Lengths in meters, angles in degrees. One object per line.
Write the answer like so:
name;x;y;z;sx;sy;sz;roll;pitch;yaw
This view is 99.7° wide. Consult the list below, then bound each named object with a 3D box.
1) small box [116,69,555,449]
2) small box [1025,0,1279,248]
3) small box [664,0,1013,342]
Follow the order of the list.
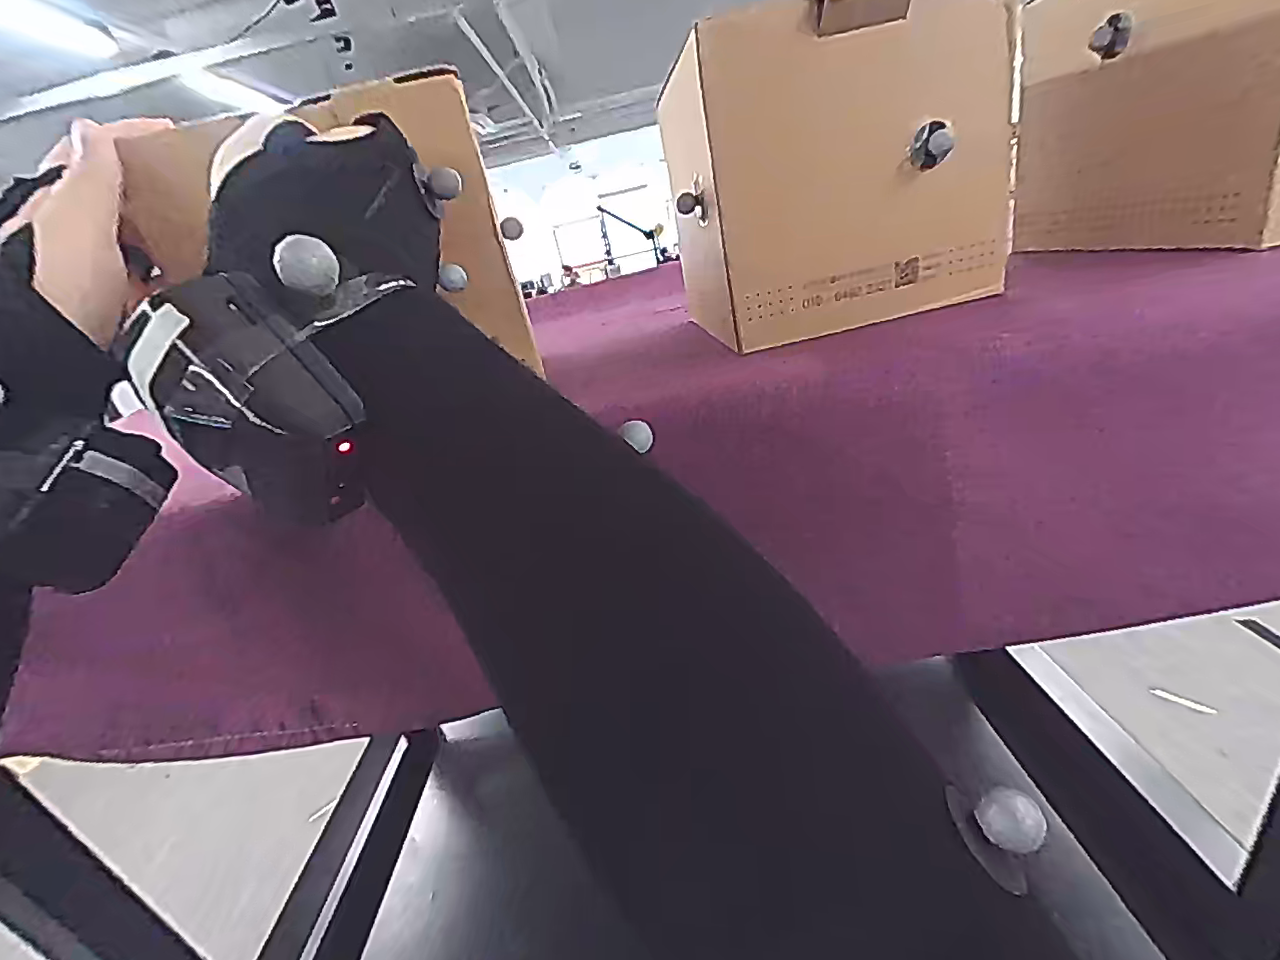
small box;-0.159;-0.132;0.358;0.168;0.176;0.179;-16;24;-7
small box;0.377;-0.249;0.335;0.168;0.176;0.179;-15;23;-2
small box;0.120;-0.200;0.369;0.168;0.176;0.179;-12;23;0
